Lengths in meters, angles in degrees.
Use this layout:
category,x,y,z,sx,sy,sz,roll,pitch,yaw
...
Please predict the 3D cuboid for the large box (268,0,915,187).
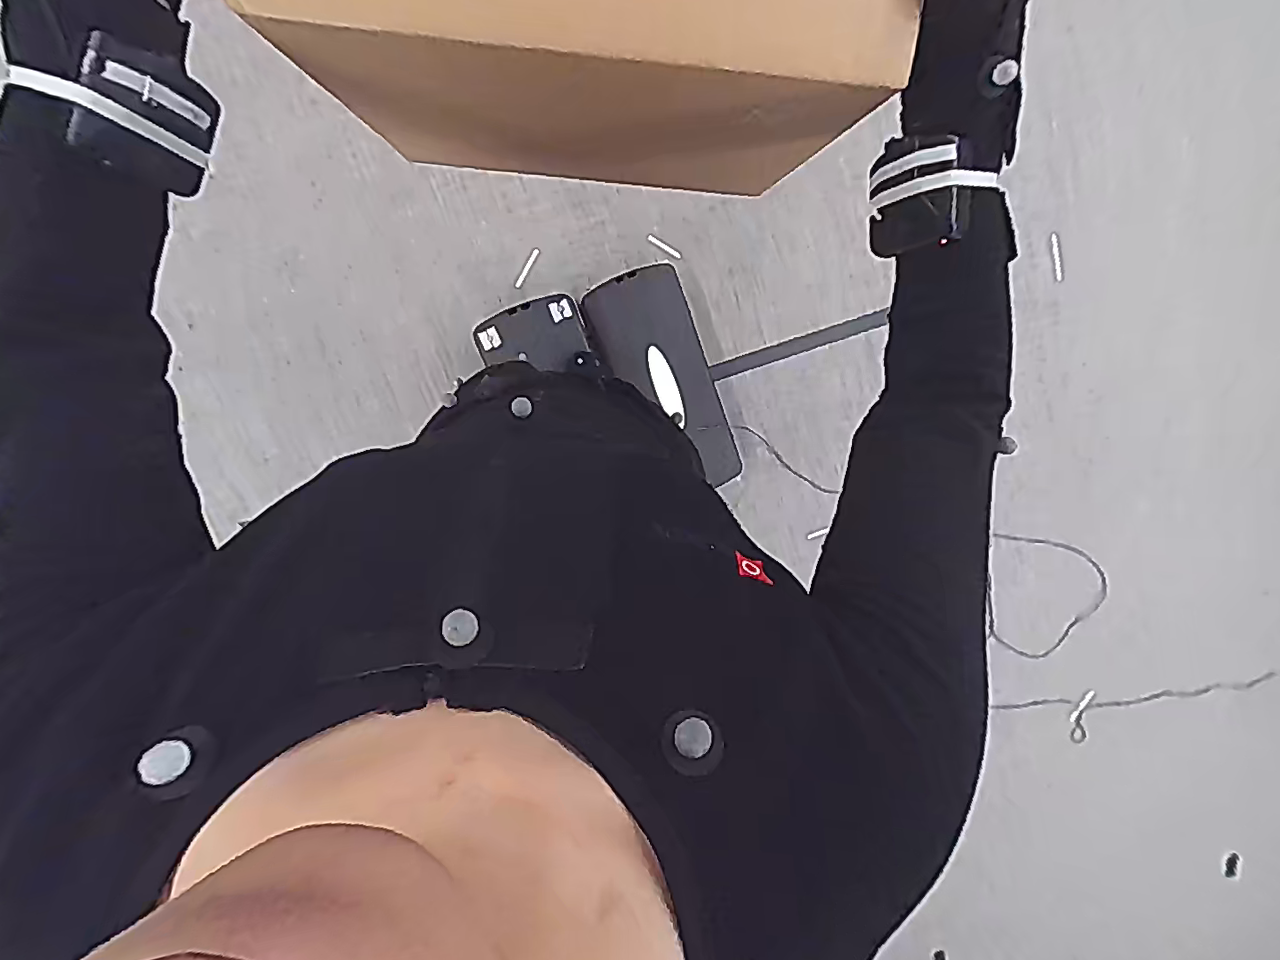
category,x,y,z,sx,sy,sz,roll,pitch,yaw
large box,-0.030,-0.456,0.438,0.408,0.320,0.320,2,107,-6
